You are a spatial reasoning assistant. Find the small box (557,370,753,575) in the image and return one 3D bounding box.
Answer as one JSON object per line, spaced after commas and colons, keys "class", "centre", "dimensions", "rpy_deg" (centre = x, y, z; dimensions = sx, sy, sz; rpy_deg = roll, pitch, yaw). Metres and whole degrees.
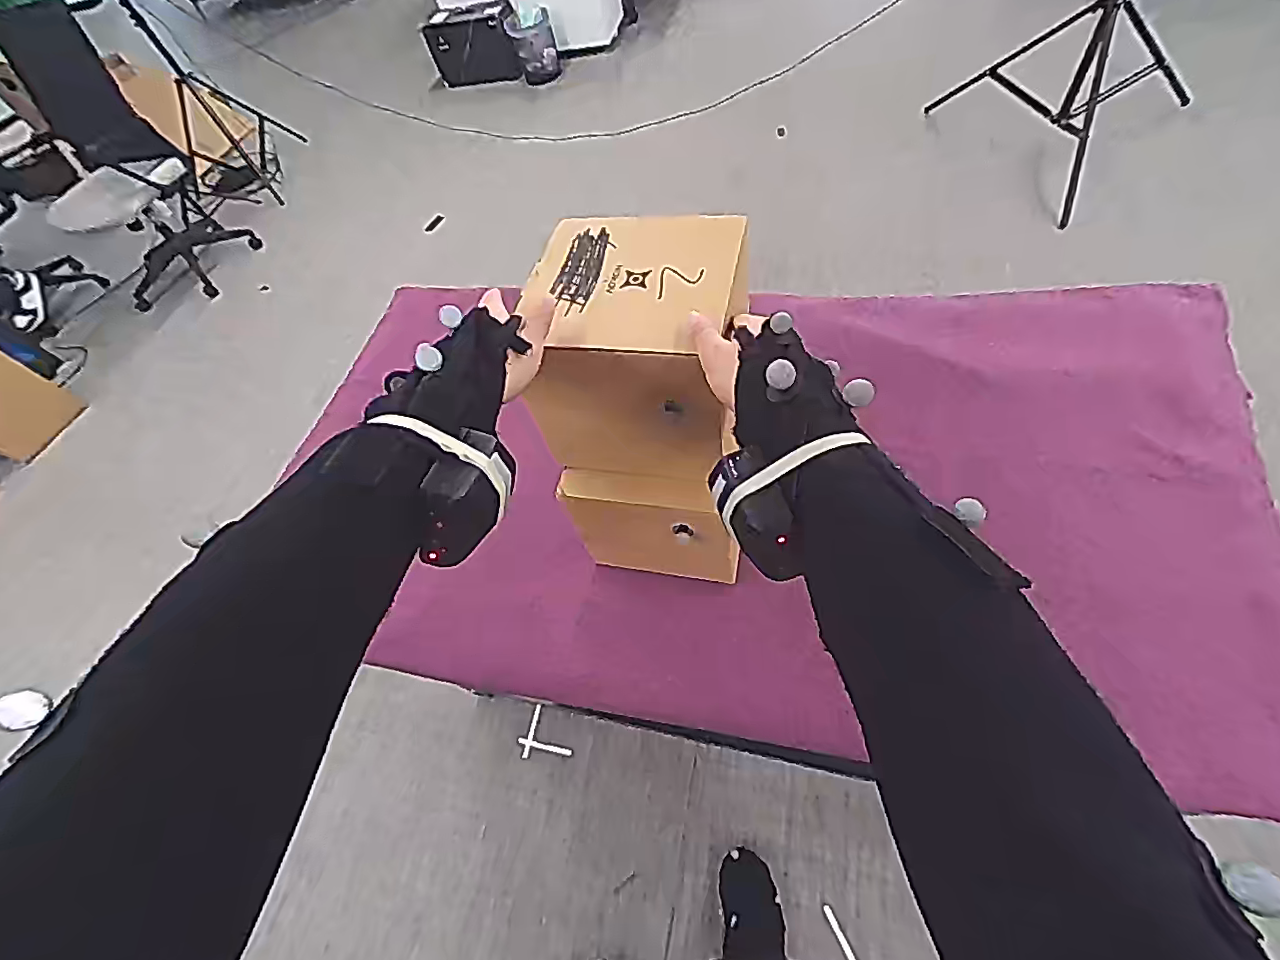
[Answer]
{"class": "small box", "centre": [0.031, -0.004, 0.621], "dimensions": [0.179, 0.176, 0.168], "rpy_deg": [6, 58, 15]}
